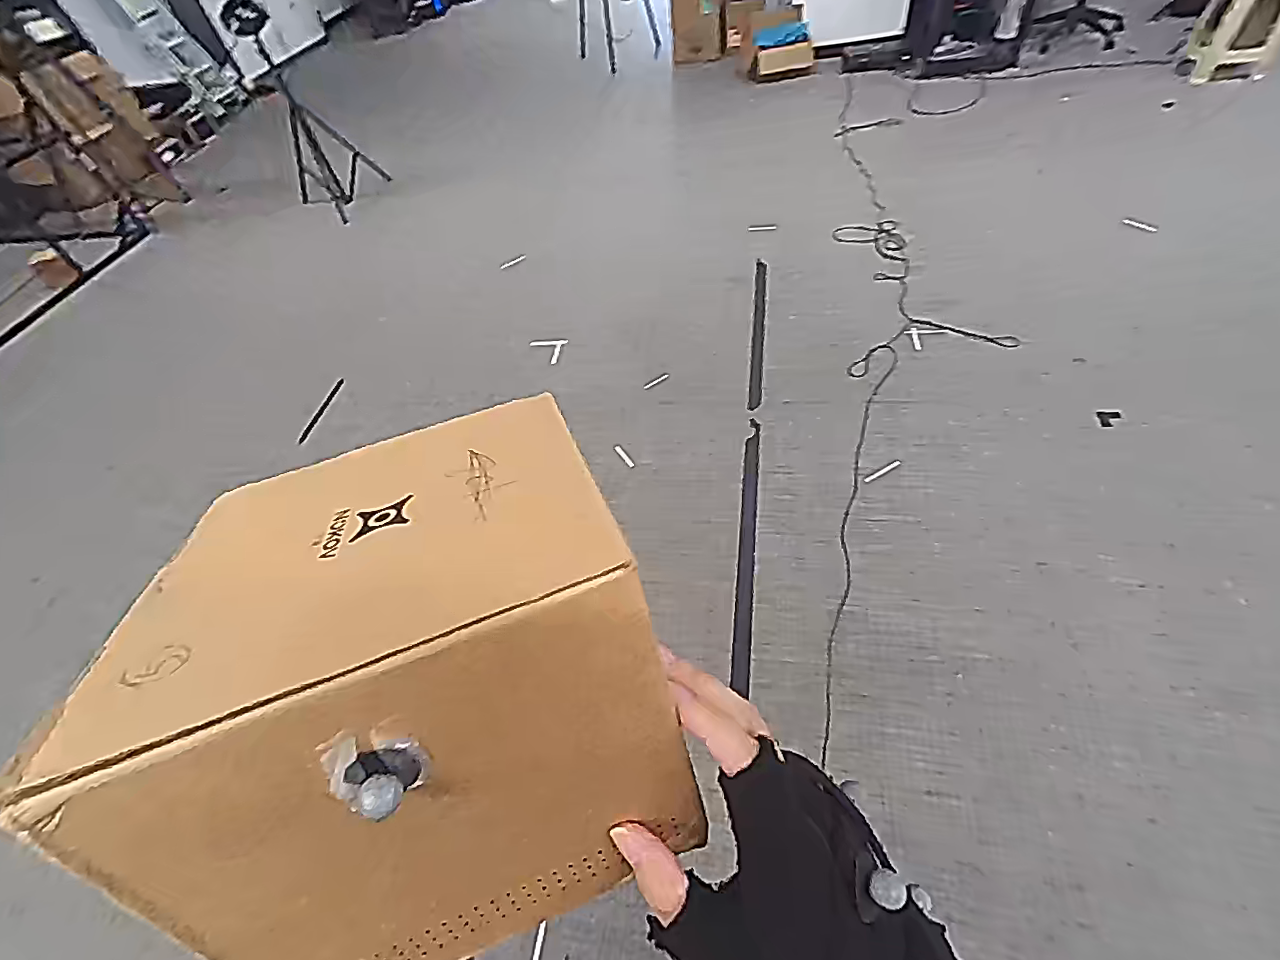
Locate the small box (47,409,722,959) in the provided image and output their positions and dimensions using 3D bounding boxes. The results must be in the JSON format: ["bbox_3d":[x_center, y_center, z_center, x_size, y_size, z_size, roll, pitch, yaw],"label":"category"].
[{"bbox_3d":[-0.078,0.091,0.258,0.179,0.176,0.168,-19,30,-8],"label":"small box"}]
